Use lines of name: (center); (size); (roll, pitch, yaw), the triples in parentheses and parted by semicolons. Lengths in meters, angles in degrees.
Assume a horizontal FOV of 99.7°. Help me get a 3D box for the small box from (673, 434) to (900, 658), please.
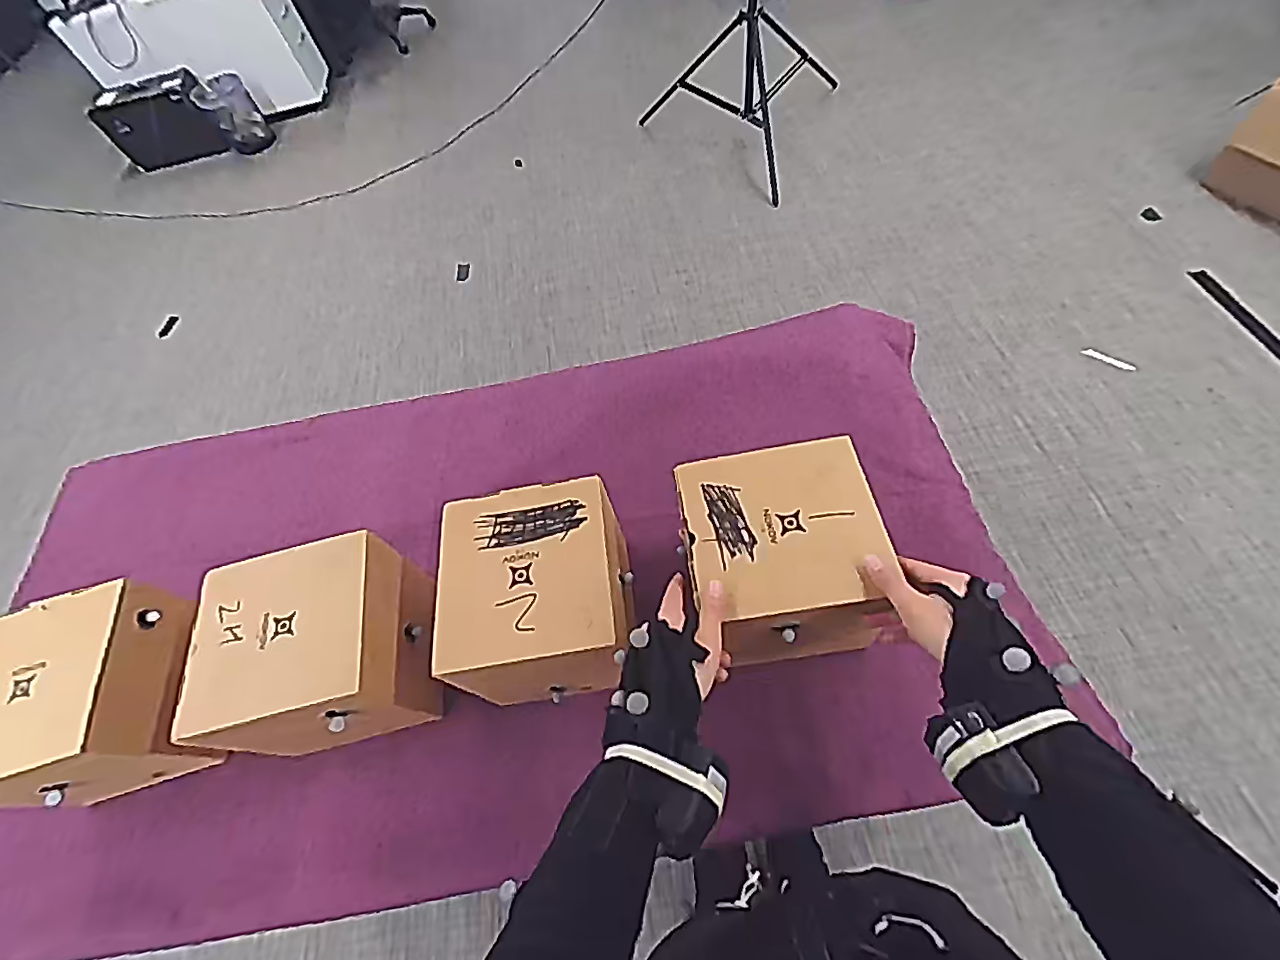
small box: (0.136, 0.077, 0.561); (0.179, 0.176, 0.168); (-8, 58, 3)

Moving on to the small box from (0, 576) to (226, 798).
small box: (-0.582, 0.234, 0.595); (0.168, 0.176, 0.179); (-18, 58, -1)

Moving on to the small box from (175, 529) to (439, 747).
small box: (-0.332, 0.177, 0.584); (0.179, 0.176, 0.168); (-15, 58, 1)
